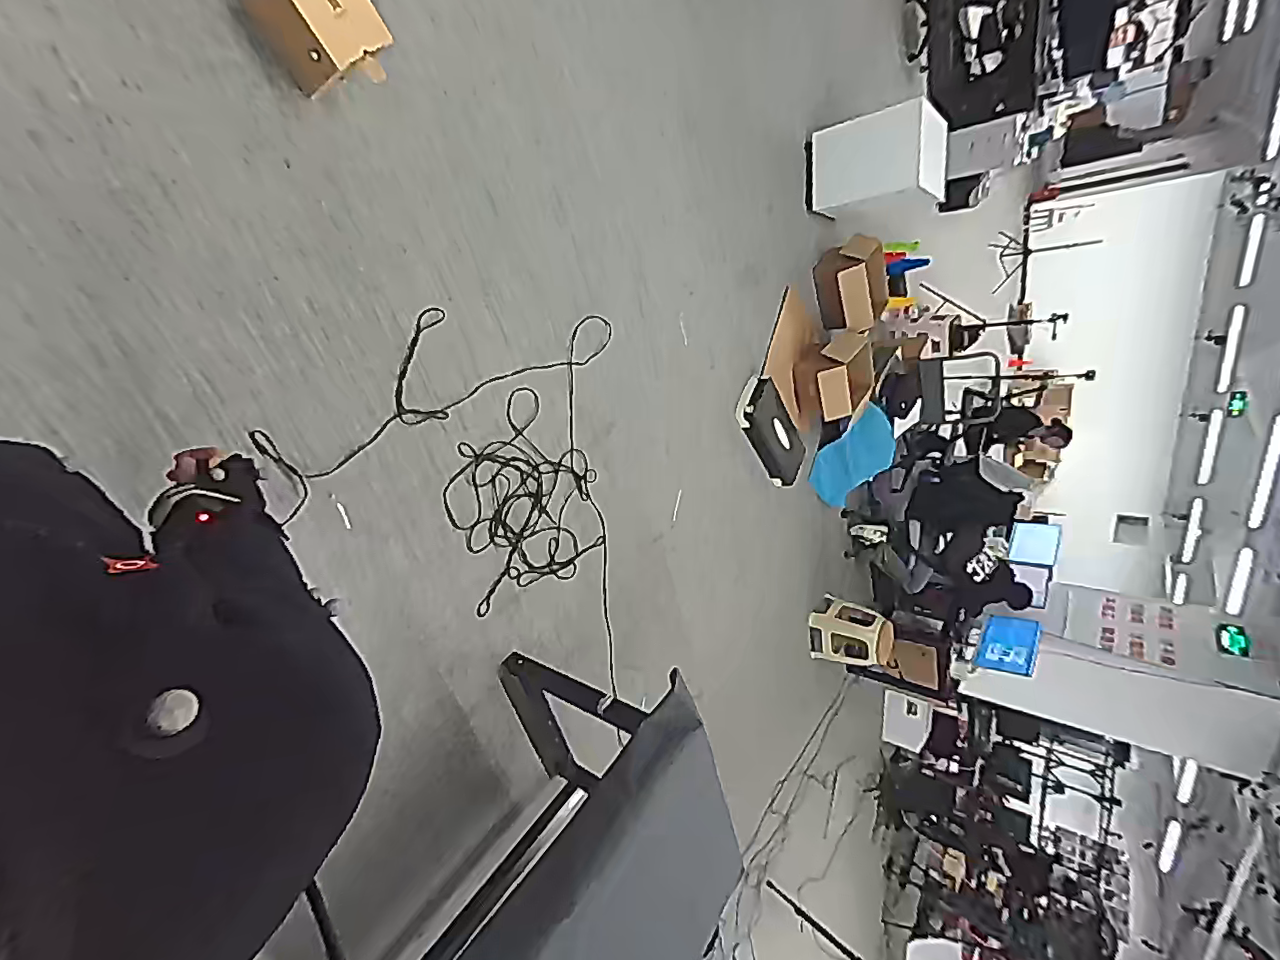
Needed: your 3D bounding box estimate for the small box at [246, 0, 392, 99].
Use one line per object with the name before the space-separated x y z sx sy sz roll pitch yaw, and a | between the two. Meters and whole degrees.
small box | -0.674 -0.951 1.135 0.168 0.176 0.179 -57 135 -28
